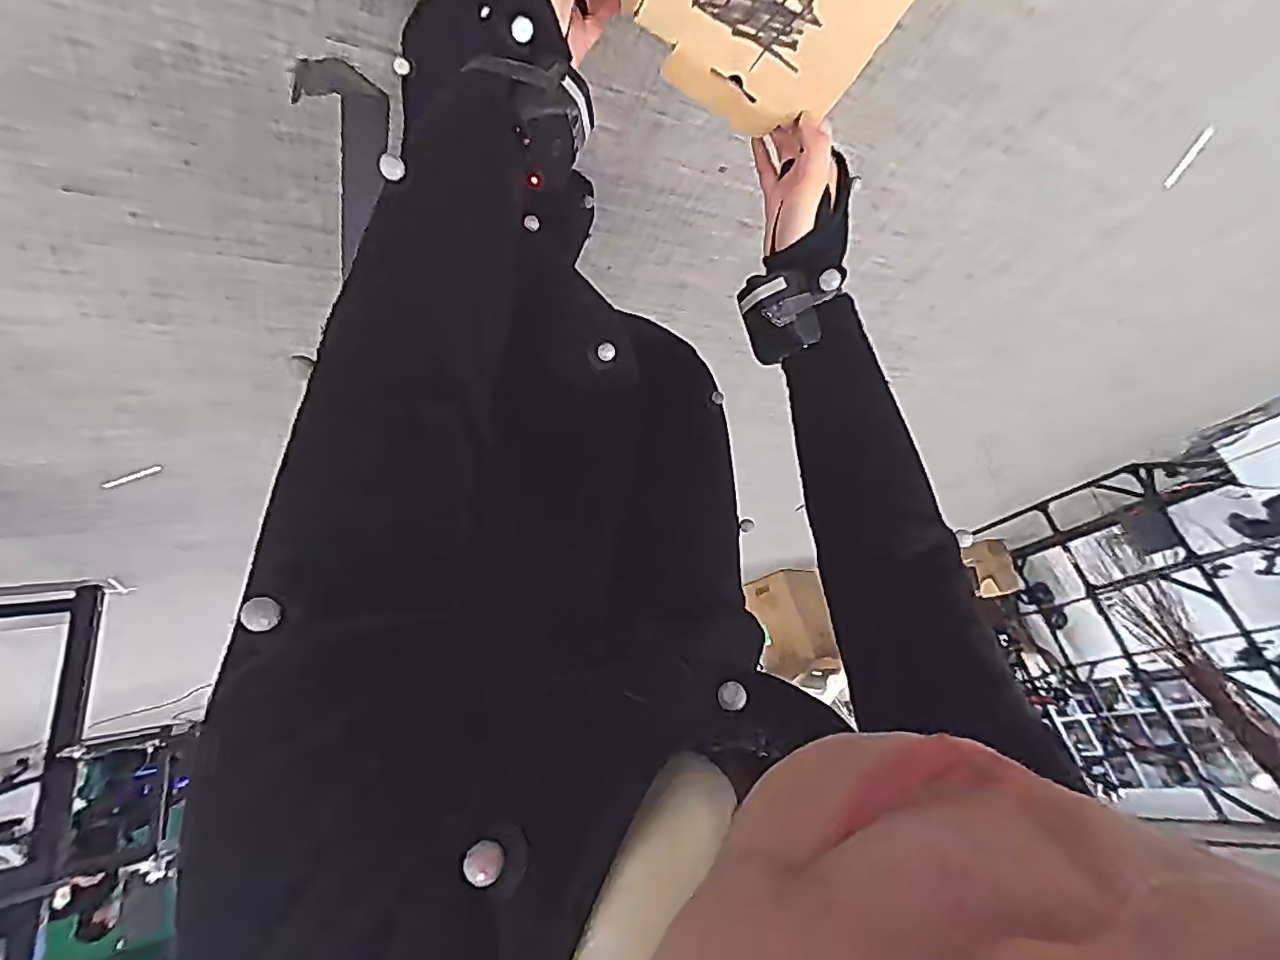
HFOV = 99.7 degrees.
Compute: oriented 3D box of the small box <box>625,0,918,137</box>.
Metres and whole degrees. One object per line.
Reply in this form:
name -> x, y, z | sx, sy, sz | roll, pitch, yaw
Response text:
small box -> 0.083, -0.372, 0.334 | 0.168, 0.176, 0.179 | 4, 146, -38
